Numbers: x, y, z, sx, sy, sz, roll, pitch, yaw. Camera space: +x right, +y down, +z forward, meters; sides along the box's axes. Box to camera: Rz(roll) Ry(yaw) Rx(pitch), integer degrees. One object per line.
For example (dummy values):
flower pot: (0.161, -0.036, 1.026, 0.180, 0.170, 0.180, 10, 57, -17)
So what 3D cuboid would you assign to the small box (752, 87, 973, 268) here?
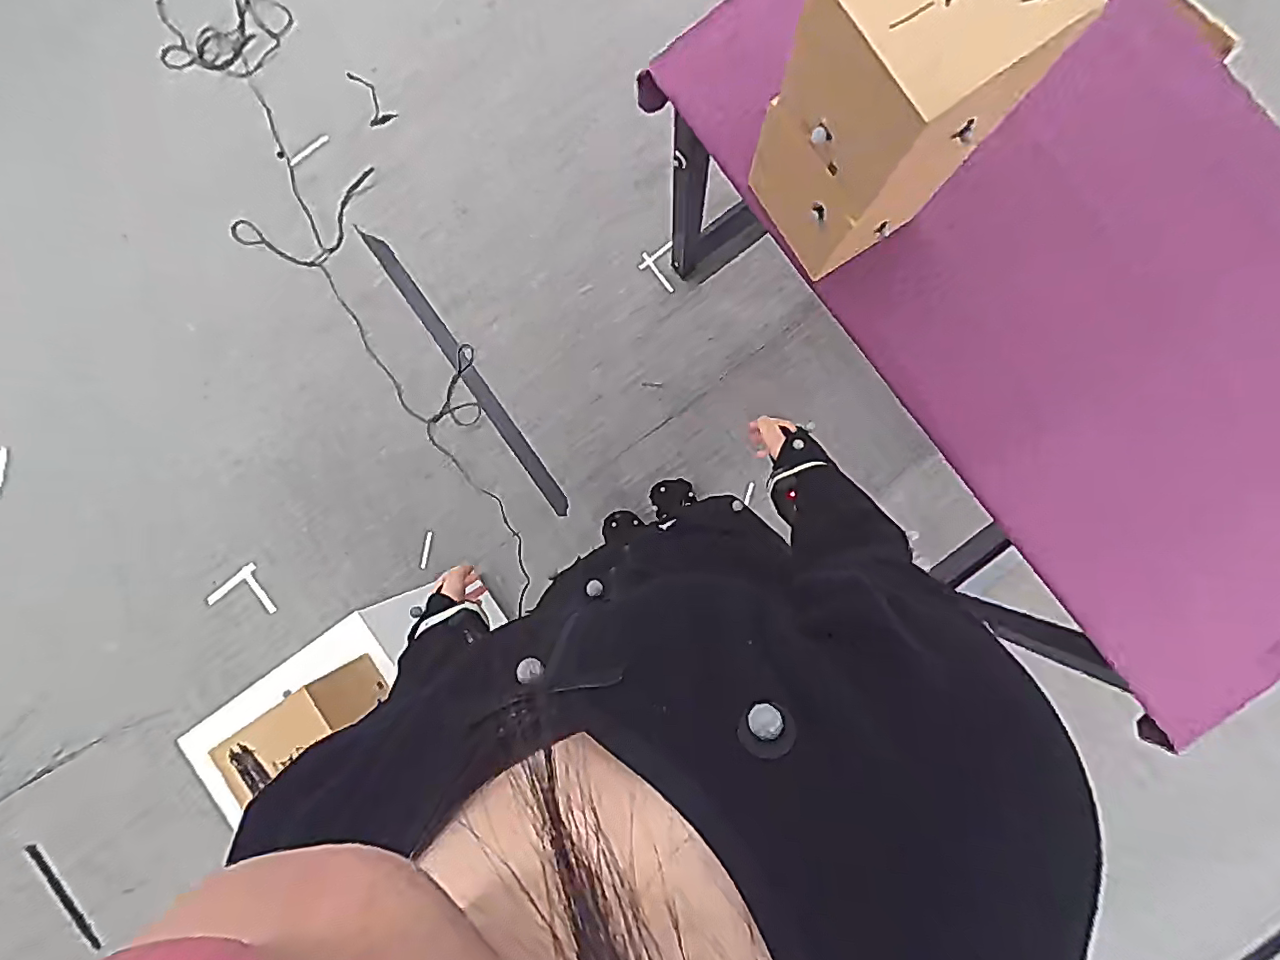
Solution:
small box: (0.264, -0.398, 0.686, 0.168, 0.176, 0.179, -32, 87, 1)

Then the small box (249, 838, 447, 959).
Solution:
small box: (-0.366, 0.600, 0.670, 0.179, 0.176, 0.168, -37, 87, 2)

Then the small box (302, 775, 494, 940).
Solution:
small box: (-0.358, 0.606, 0.833, 0.179, 0.176, 0.168, -36, 87, 3)

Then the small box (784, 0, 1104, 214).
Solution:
small box: (0.266, -0.404, 0.521, 0.179, 0.176, 0.168, -33, 88, 3)
